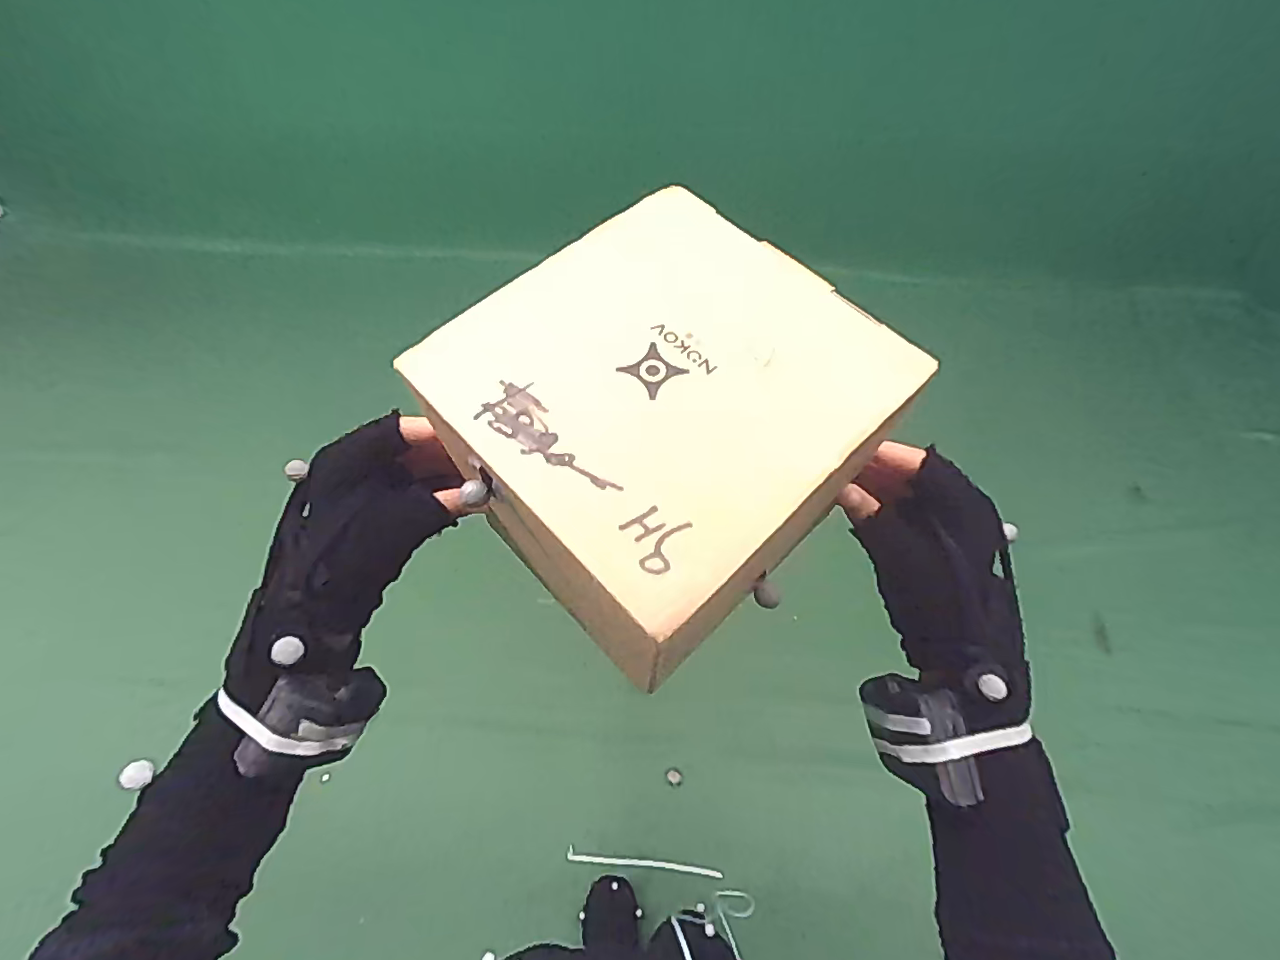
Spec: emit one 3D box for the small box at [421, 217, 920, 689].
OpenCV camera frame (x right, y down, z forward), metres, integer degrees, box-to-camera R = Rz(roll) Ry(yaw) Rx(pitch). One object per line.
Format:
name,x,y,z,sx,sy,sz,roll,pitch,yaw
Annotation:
small box,0.012,-0.008,0.317,0.179,0.176,0.168,-38,68,-21
